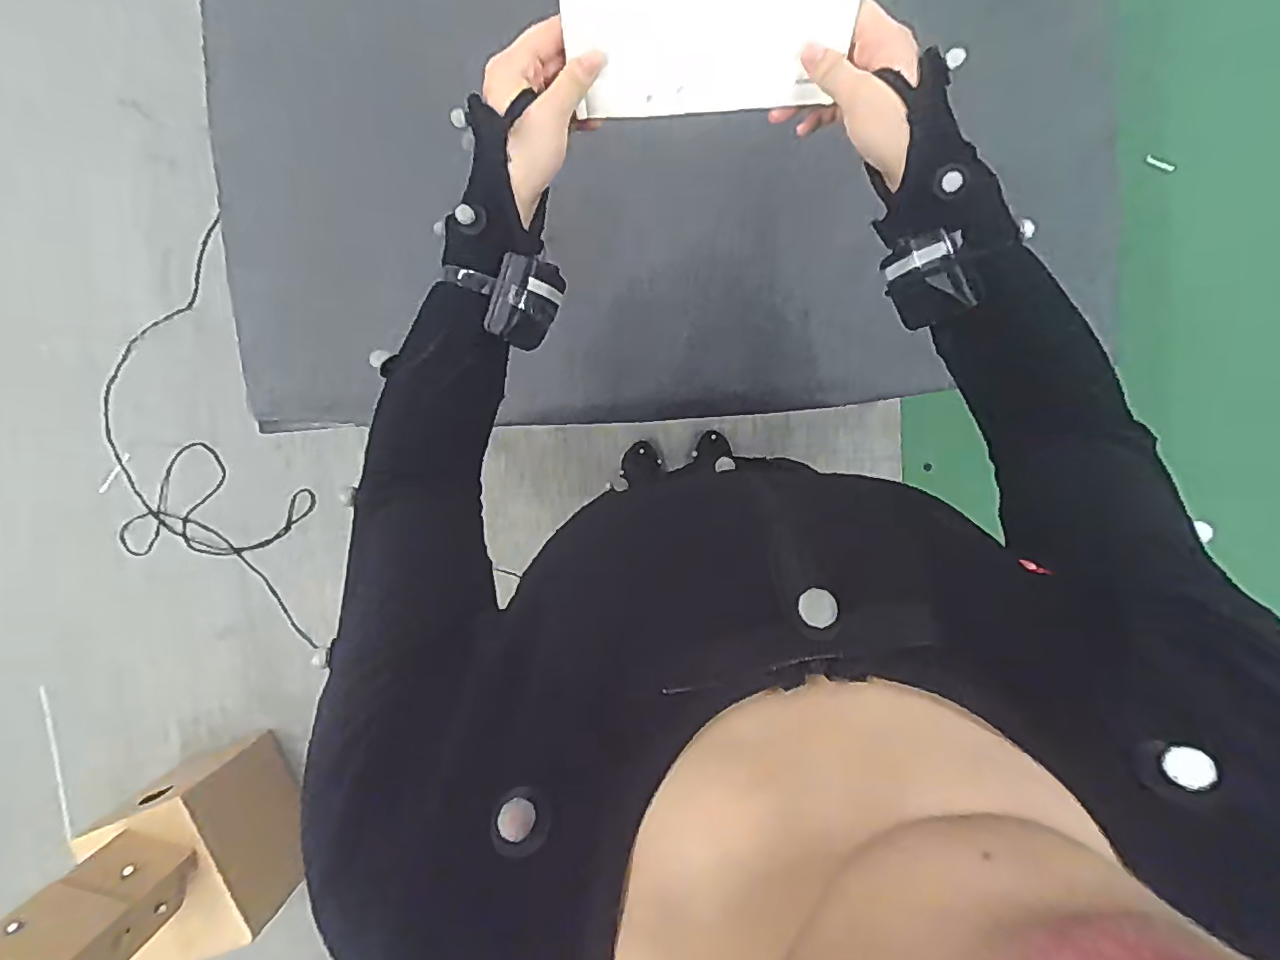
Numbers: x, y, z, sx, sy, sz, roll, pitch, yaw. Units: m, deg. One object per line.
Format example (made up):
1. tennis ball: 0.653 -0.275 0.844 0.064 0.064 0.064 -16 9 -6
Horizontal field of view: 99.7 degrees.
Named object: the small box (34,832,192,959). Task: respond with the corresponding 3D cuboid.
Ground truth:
1. small box: -1.158 0.930 1.203 0.179 0.176 0.168 17 94 -2
